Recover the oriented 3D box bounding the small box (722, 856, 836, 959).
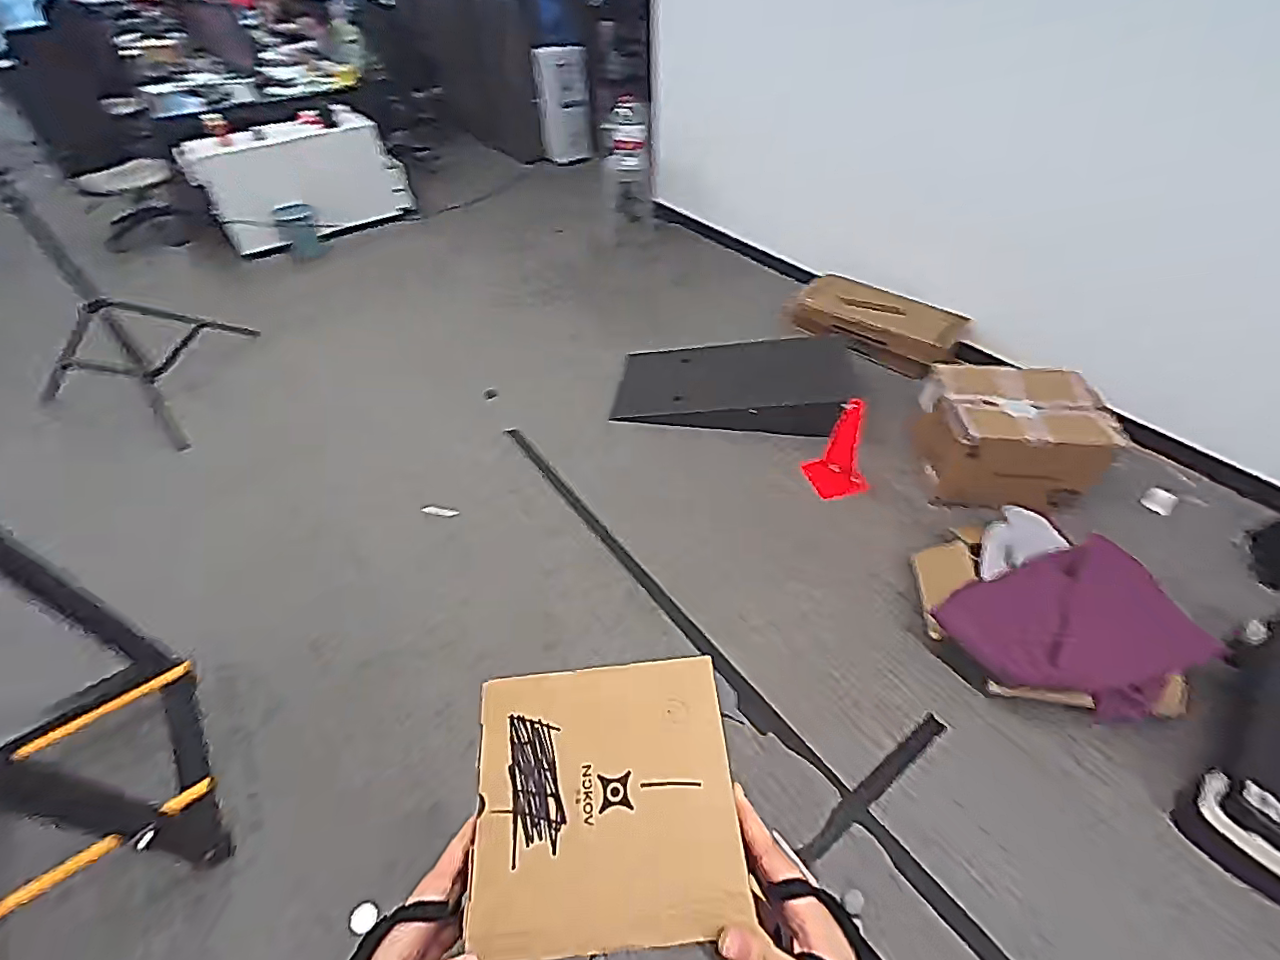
[{"bbox_3d":[0.258,0.906,1.083,0.179,0.176,0.168,-28,52,-21],"label":"small box"}]

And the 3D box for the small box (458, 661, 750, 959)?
[{"bbox_3d":[-0.023,0.258,0.424,0.179,0.176,0.168,-7,55,-1],"label":"small box"}]
